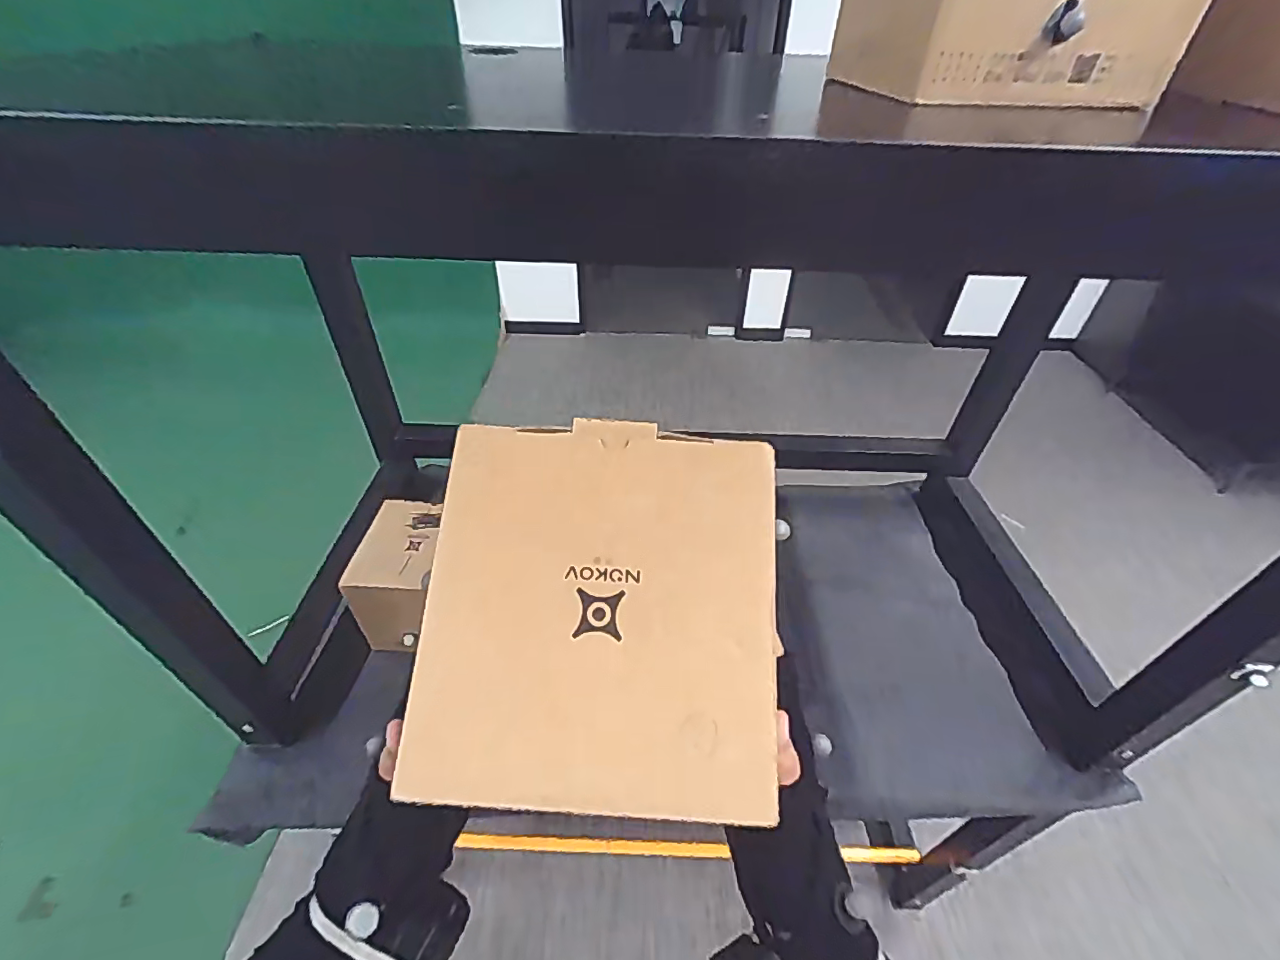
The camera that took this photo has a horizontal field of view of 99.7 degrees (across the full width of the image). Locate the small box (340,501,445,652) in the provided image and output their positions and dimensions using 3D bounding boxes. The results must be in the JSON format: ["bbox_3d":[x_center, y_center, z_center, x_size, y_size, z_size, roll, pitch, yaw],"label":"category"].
[{"bbox_3d":[-0.339,0.156,0.869,0.168,0.176,0.179,3,42,1],"label":"small box"}]

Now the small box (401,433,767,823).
[{"bbox_3d":[-0.020,0.085,0.336,0.168,0.176,0.179,3,72,0],"label":"small box"}]
